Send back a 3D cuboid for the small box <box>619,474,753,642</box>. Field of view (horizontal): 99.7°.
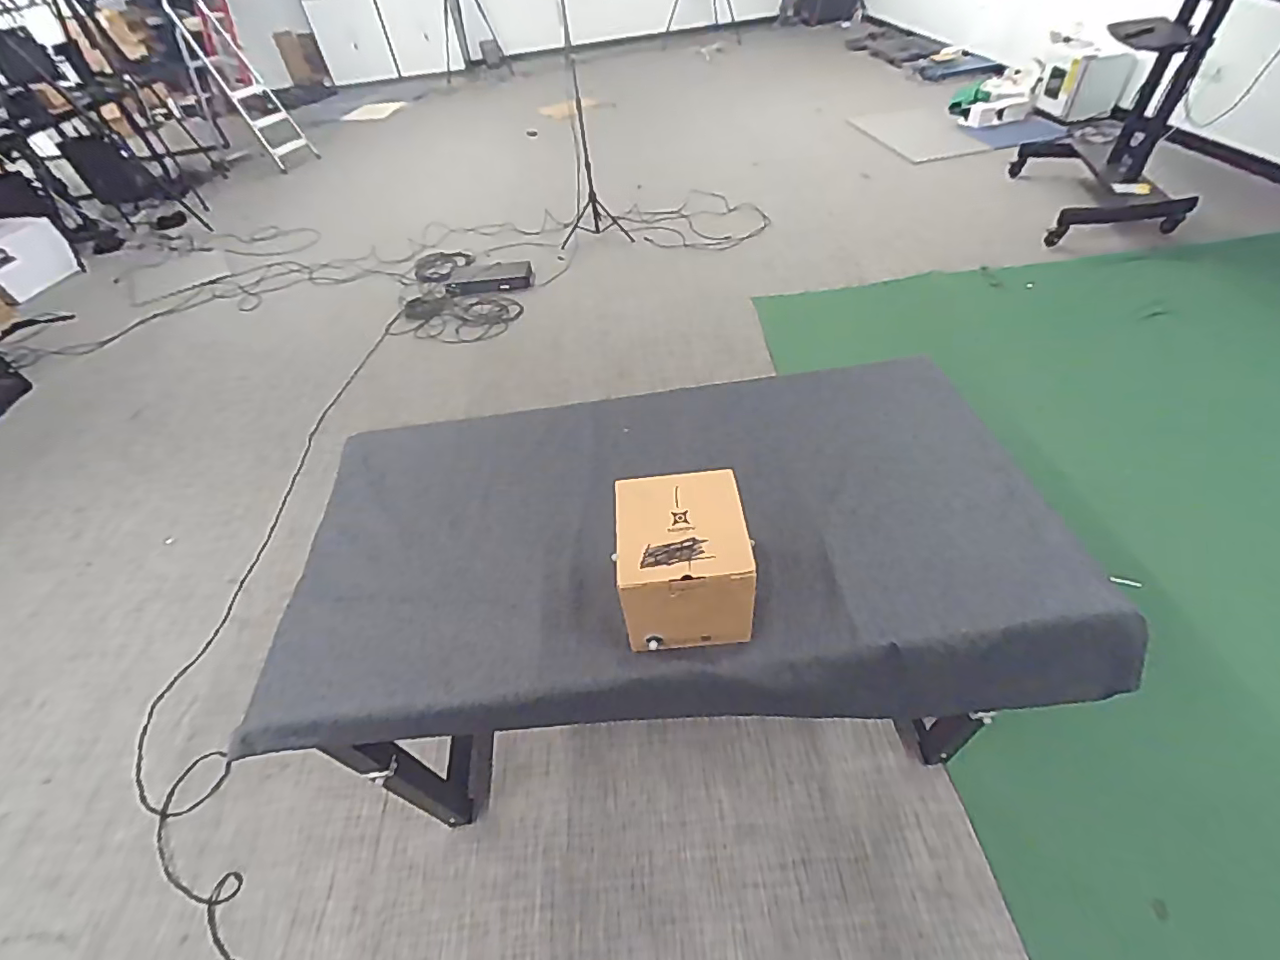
[{"bbox_3d":[0.062,0.115,0.759,0.168,0.176,0.179,-4,45,2],"label":"small box"}]
